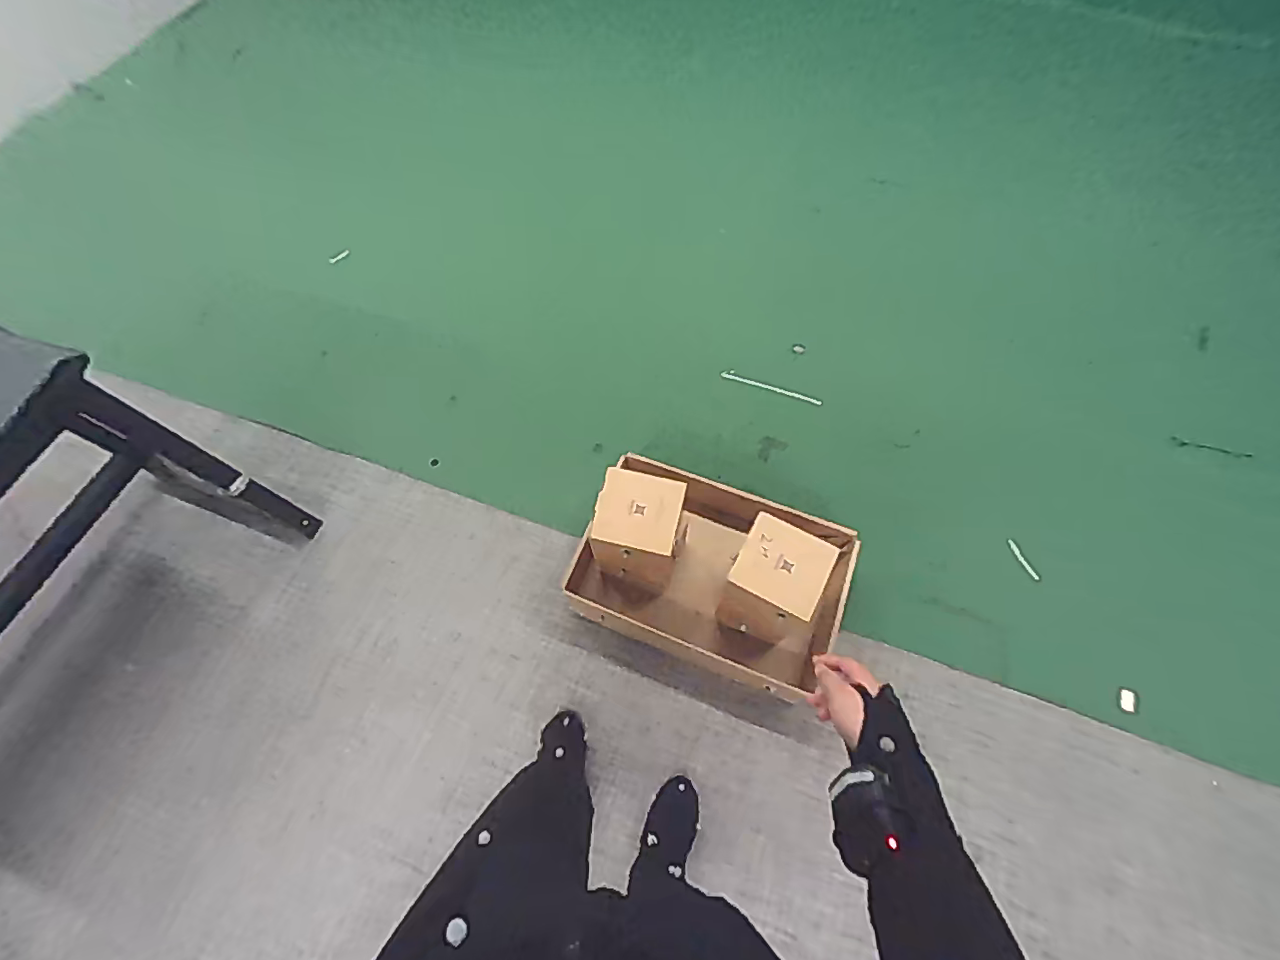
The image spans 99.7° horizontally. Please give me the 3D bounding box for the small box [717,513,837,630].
[{"bbox_3d":[0.279,0.199,1.133,0.179,0.176,0.168,27,69,14],"label":"small box"}]

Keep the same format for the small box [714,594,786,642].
[{"bbox_3d":[0.285,0.262,1.285,0.168,0.176,0.179,27,71,13],"label":"small box"}]

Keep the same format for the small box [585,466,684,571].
[{"bbox_3d":[-0.009,0.091,1.187,0.179,0.176,0.168,13,68,5],"label":"small box"}]
